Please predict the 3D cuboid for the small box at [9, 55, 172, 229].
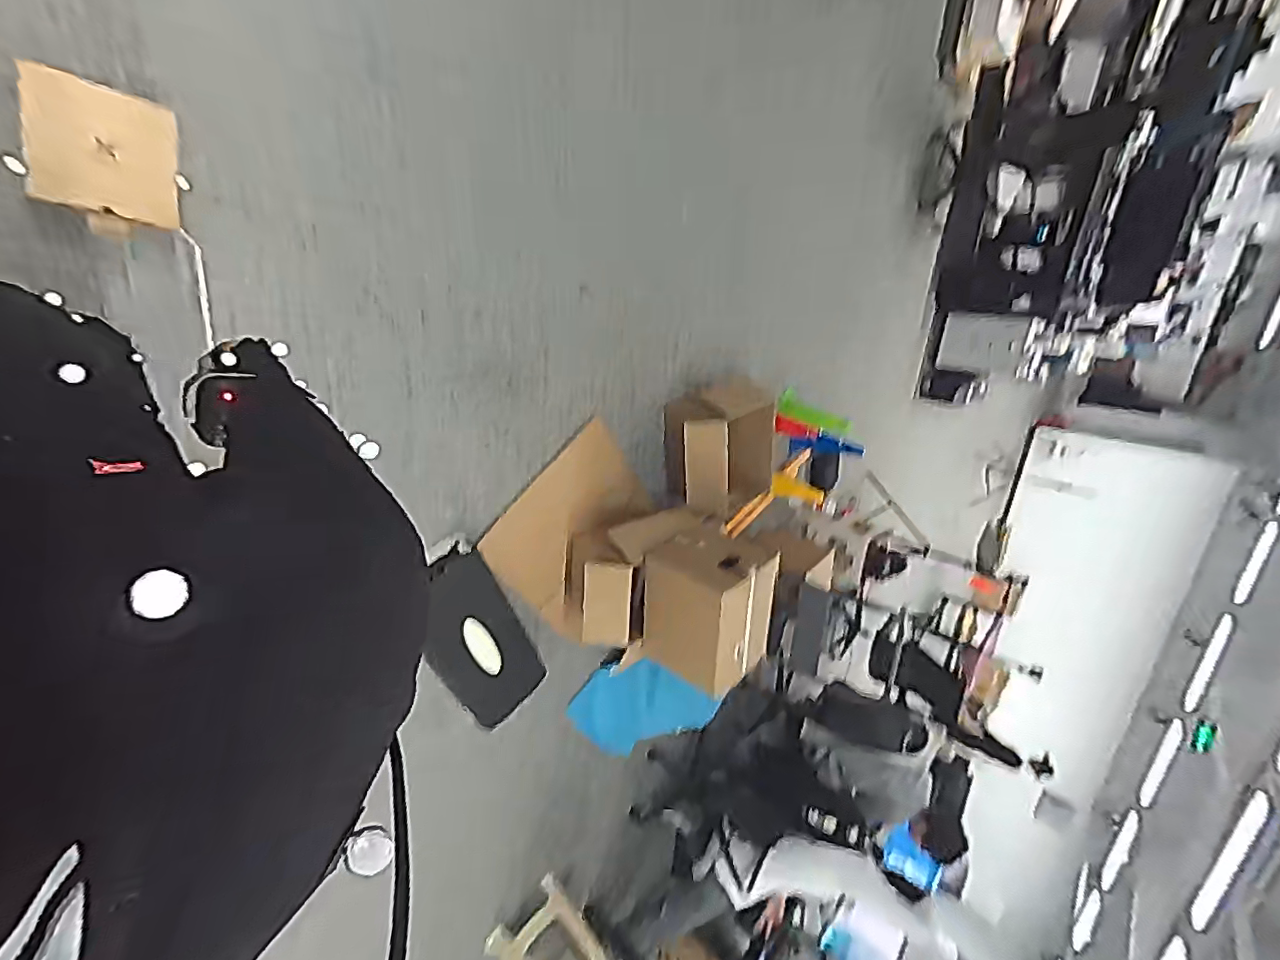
[{"bbox_3d":[-0.855,-0.508,0.844,0.168,0.176,0.179,-4,110,-48],"label":"small box"}]
